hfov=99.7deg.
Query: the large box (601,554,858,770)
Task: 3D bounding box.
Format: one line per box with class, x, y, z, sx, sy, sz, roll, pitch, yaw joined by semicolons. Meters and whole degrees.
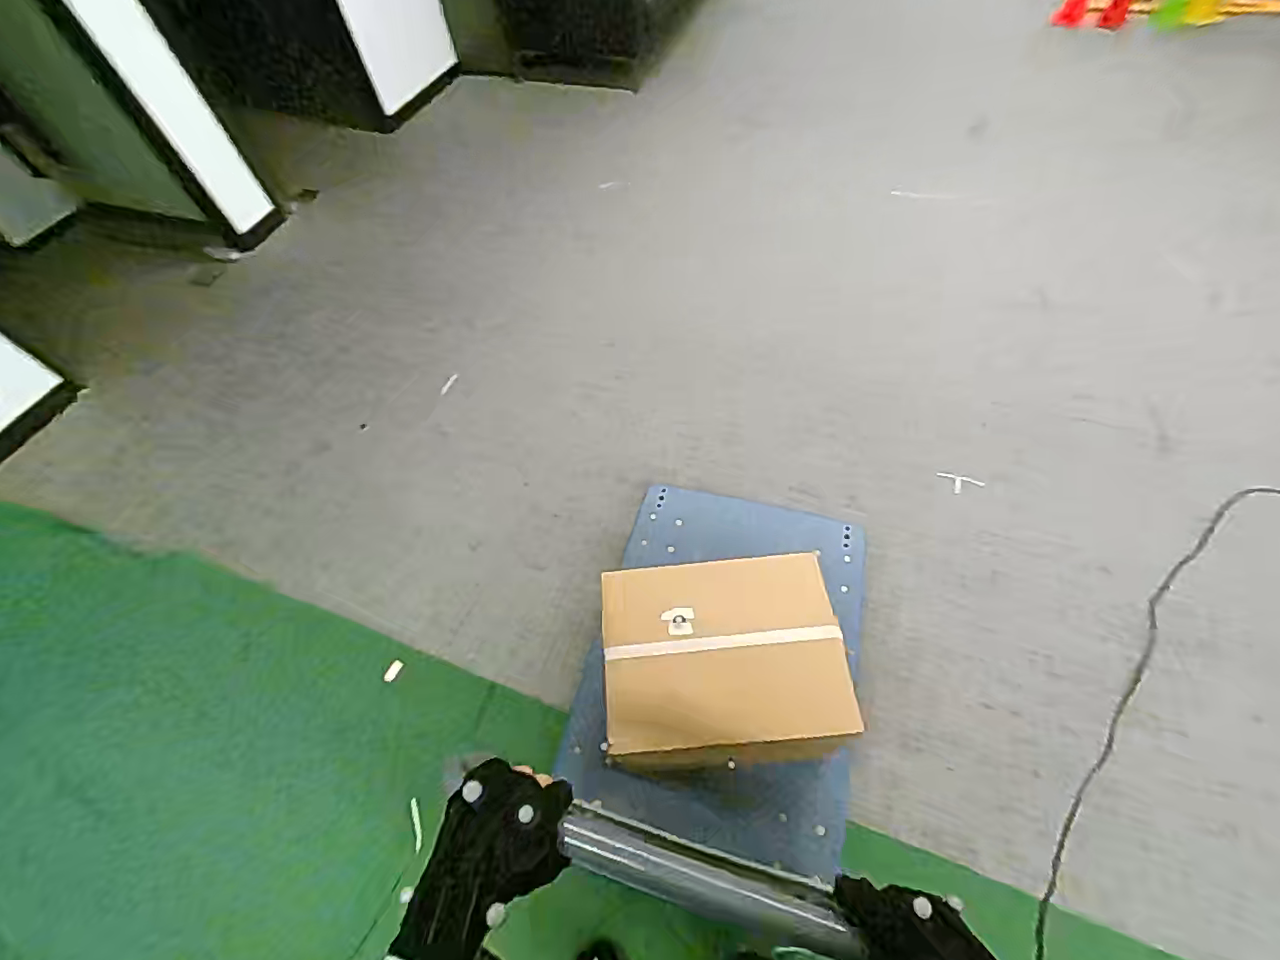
large box;0.150;0.367;1.055;0.408;0.320;0.320;-6;56;3
